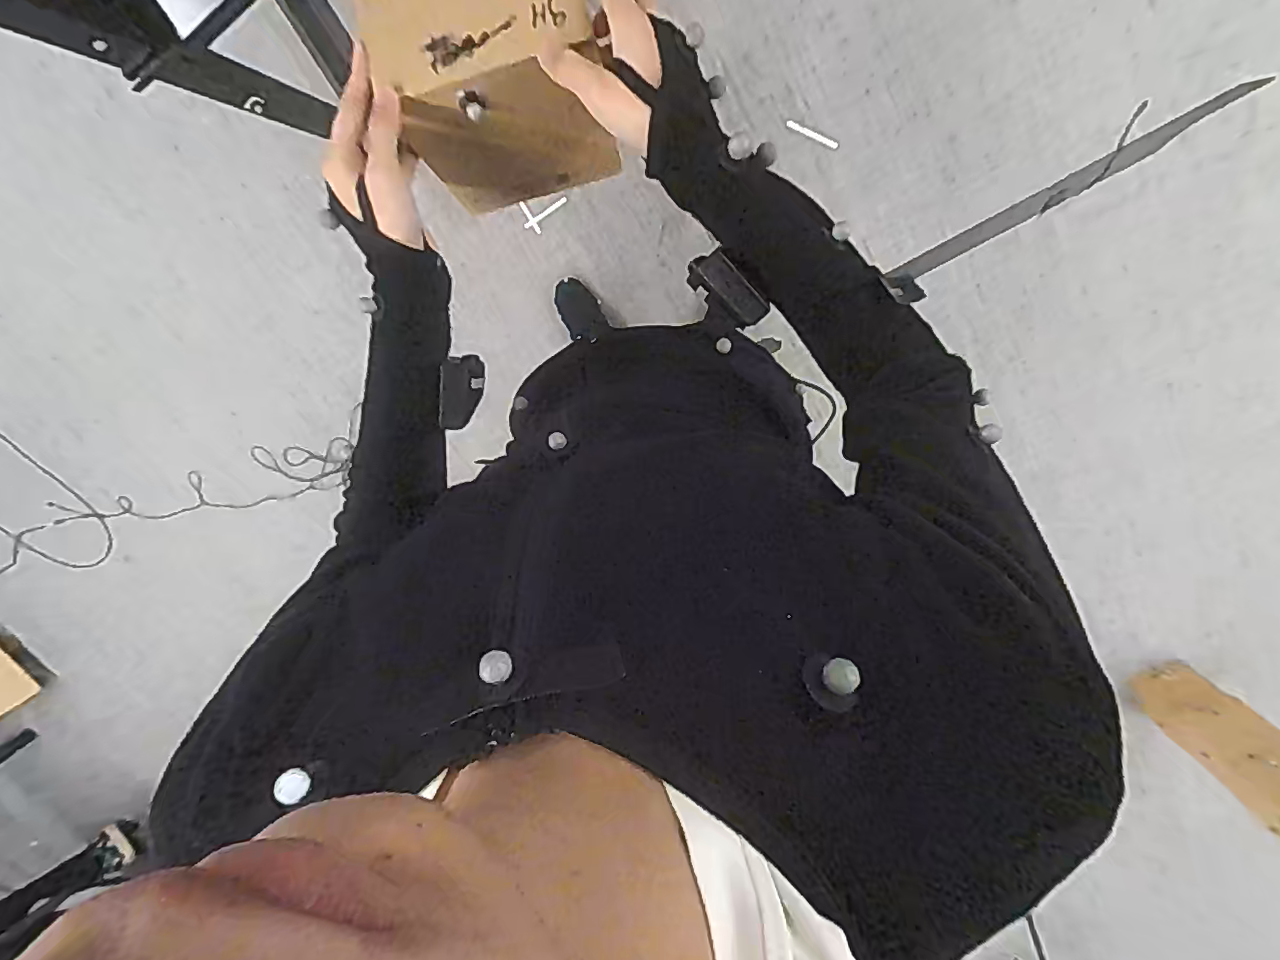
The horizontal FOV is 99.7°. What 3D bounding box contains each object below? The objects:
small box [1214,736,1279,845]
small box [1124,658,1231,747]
[{"bbox_3d":[1.709,0.828,1.442,0.168,0.176,0.179,-30,106,13],"label":"small box"},{"bbox_3d":[1.731,0.716,1.749,0.168,0.176,0.179,-30,107,14],"label":"small box"}]
